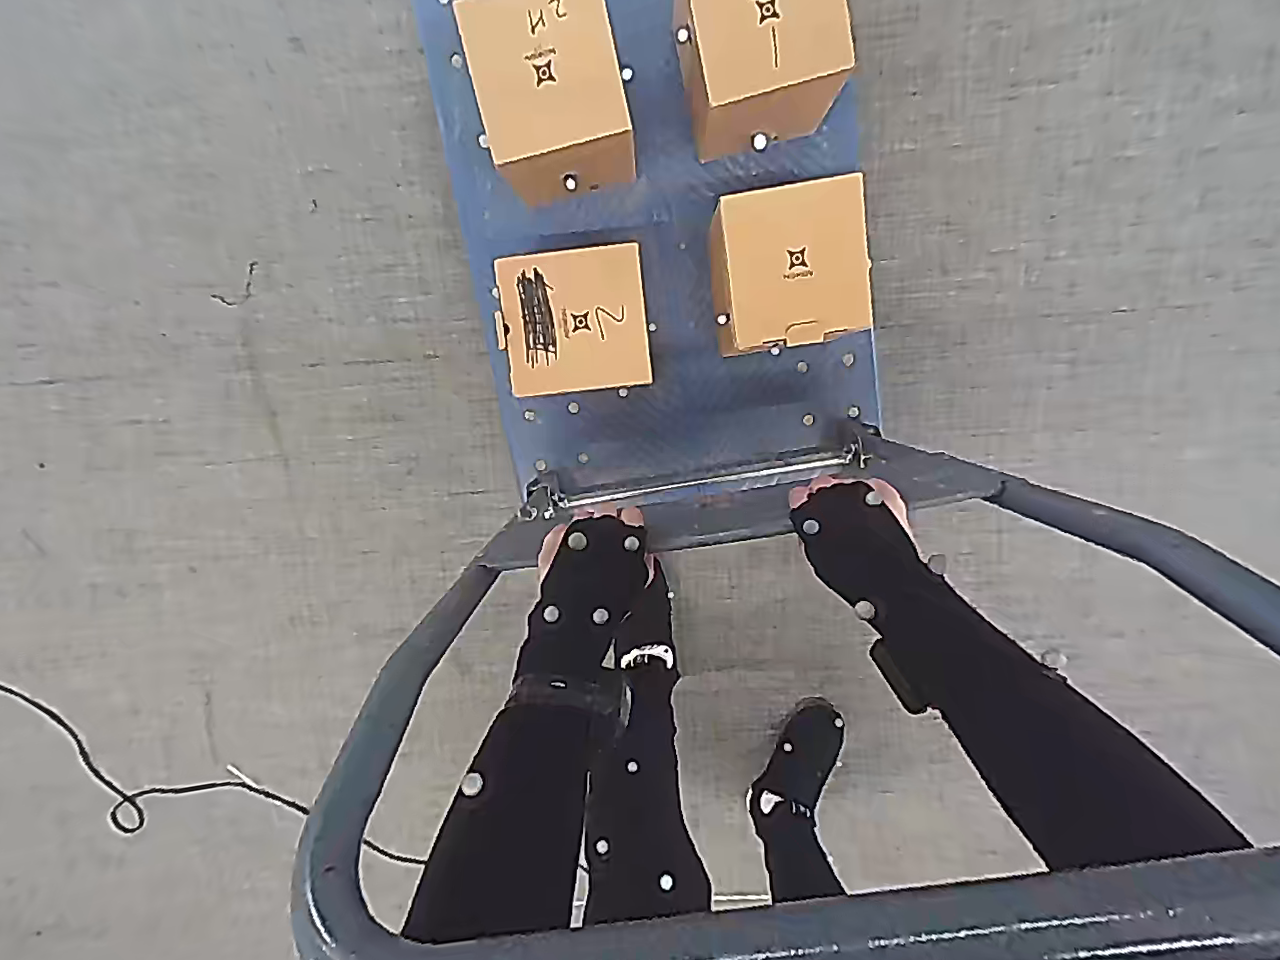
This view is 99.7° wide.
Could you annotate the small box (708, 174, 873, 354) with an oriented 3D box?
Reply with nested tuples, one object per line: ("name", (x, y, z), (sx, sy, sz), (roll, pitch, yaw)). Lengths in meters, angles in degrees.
("small box", (0.186, -0.268, 0.710), (0.168, 0.176, 0.179), (-8, 100, 3))

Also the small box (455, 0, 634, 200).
("small box", (-0.105, -0.474, 0.680), (0.168, 0.176, 0.179), (-12, 100, 3))

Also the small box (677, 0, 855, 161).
("small box", (0.142, -0.531, 0.661), (0.168, 0.176, 0.179), (-12, 101, 5))
